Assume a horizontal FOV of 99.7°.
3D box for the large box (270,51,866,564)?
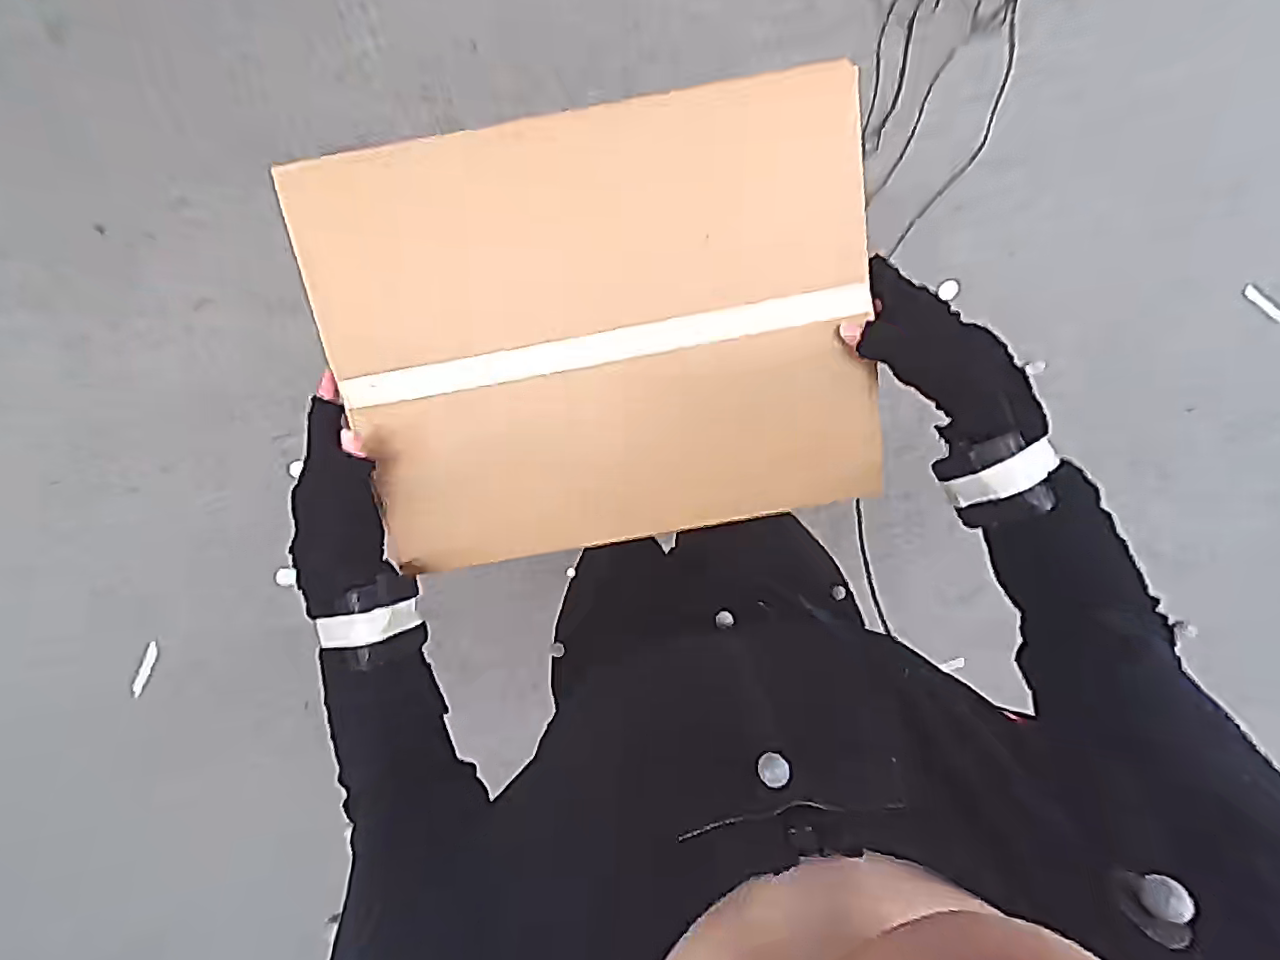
[{"bbox_3d":[-0.039,-0.151,0.550,0.408,0.320,0.320,-10,105,0],"label":"large box"}]
